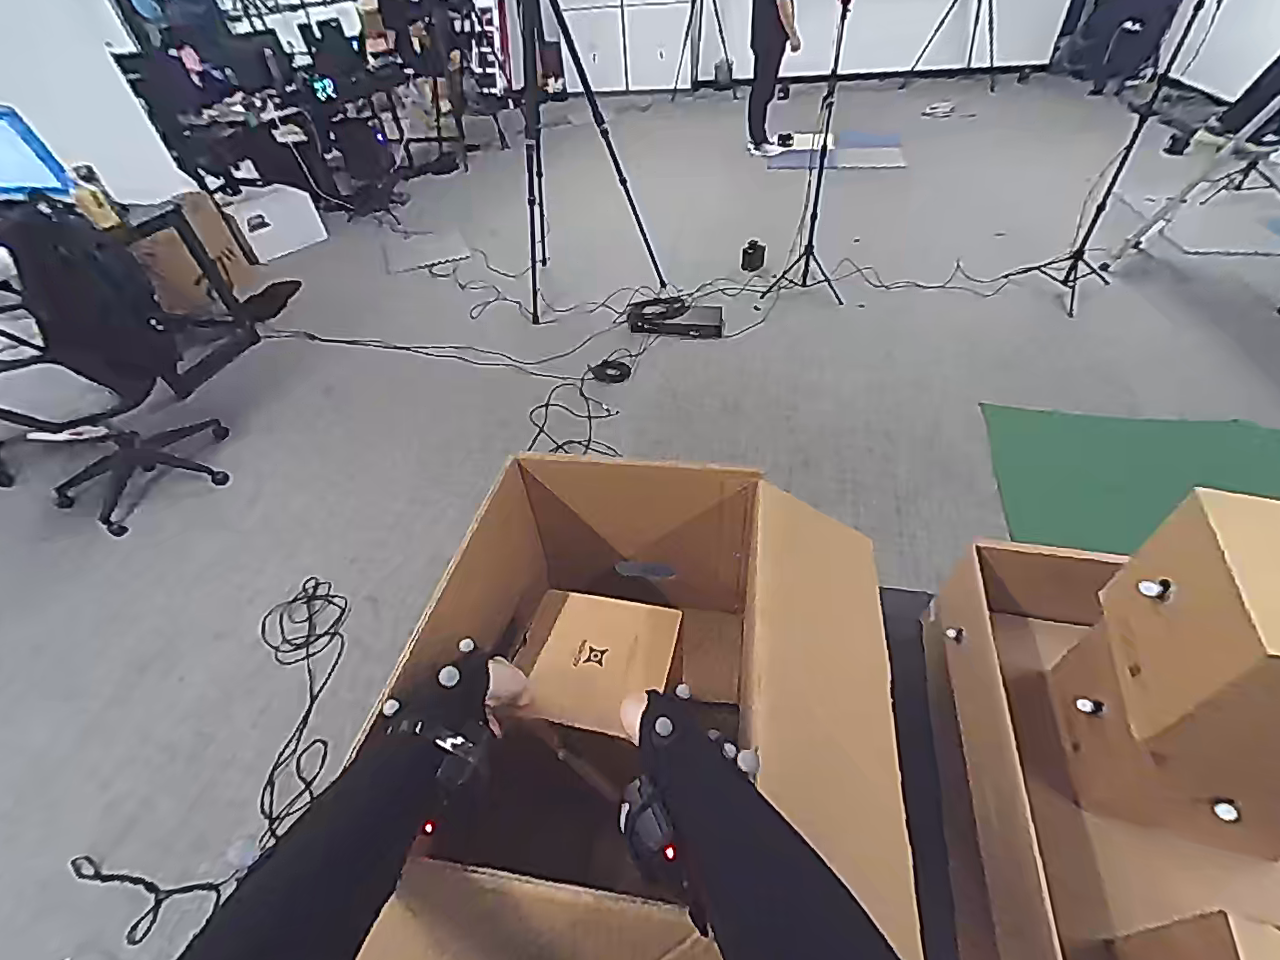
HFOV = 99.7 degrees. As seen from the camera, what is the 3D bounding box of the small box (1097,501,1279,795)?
[{"bbox_3d":[0.530,0.147,0.455,0.179,0.176,0.168,13,48,17],"label":"small box"}]
